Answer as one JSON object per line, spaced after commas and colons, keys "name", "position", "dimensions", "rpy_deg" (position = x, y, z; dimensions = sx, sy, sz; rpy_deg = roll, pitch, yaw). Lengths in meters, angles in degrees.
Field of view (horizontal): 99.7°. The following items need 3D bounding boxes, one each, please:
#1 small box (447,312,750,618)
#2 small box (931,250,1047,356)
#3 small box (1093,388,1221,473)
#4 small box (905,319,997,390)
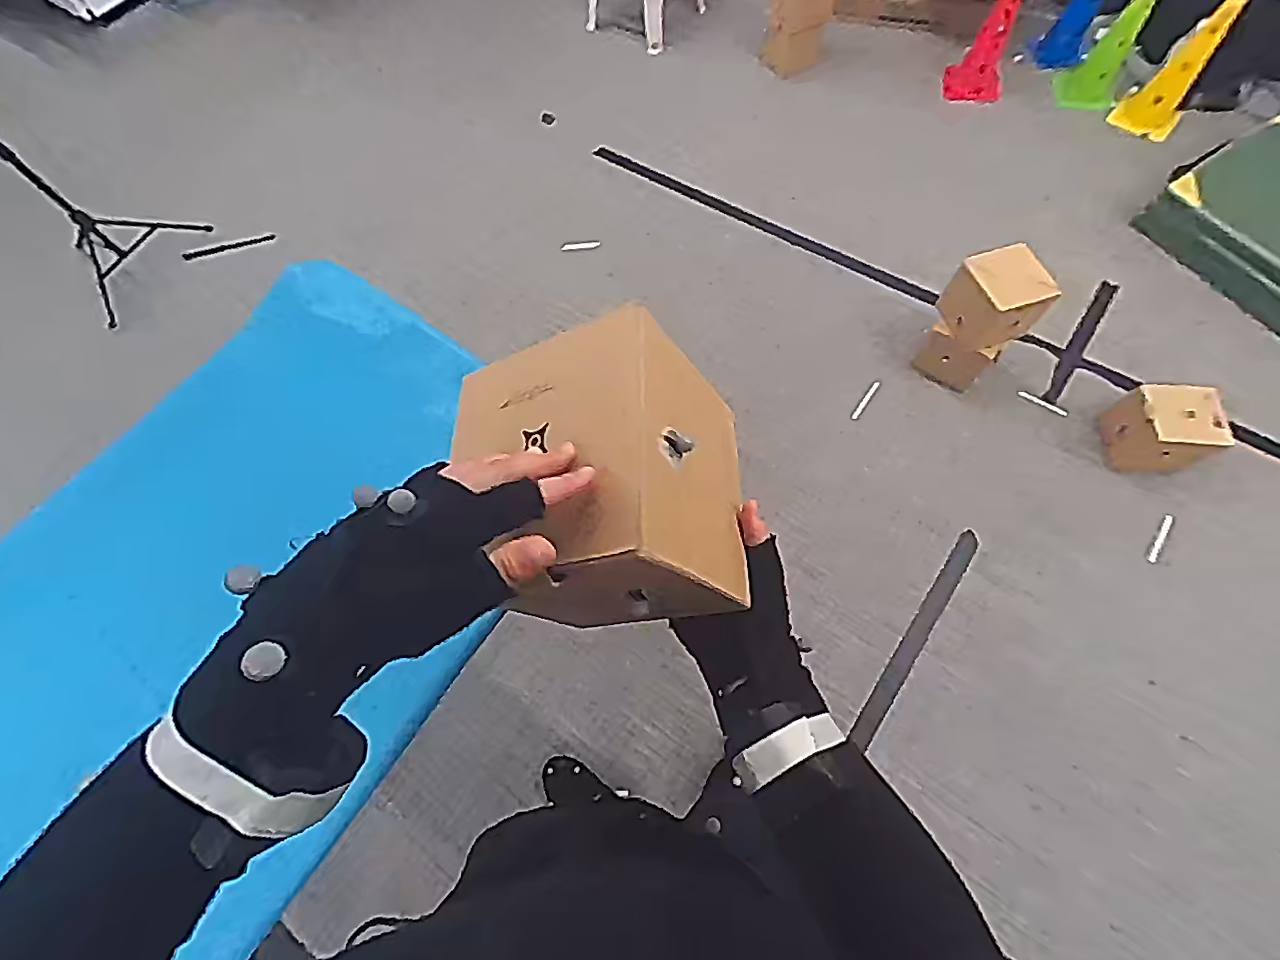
{"name": "small box", "position": [-0.020, 0.009, 0.425], "dimensions": [0.168, 0.176, 0.179], "rpy_deg": [-12, 63, 26]}
{"name": "small box", "position": [0.908, -0.461, 1.411], "dimensions": [0.168, 0.176, 0.179], "rpy_deg": [-17, 67, -4]}
{"name": "small box", "position": [1.347, -0.127, 1.430], "dimensions": [0.179, 0.176, 0.168], "rpy_deg": [4, 69, 5]}
{"name": "small box", "position": [0.909, -0.387, 1.562], "dimensions": [0.179, 0.176, 0.168], "rpy_deg": [35, 73, 17]}
